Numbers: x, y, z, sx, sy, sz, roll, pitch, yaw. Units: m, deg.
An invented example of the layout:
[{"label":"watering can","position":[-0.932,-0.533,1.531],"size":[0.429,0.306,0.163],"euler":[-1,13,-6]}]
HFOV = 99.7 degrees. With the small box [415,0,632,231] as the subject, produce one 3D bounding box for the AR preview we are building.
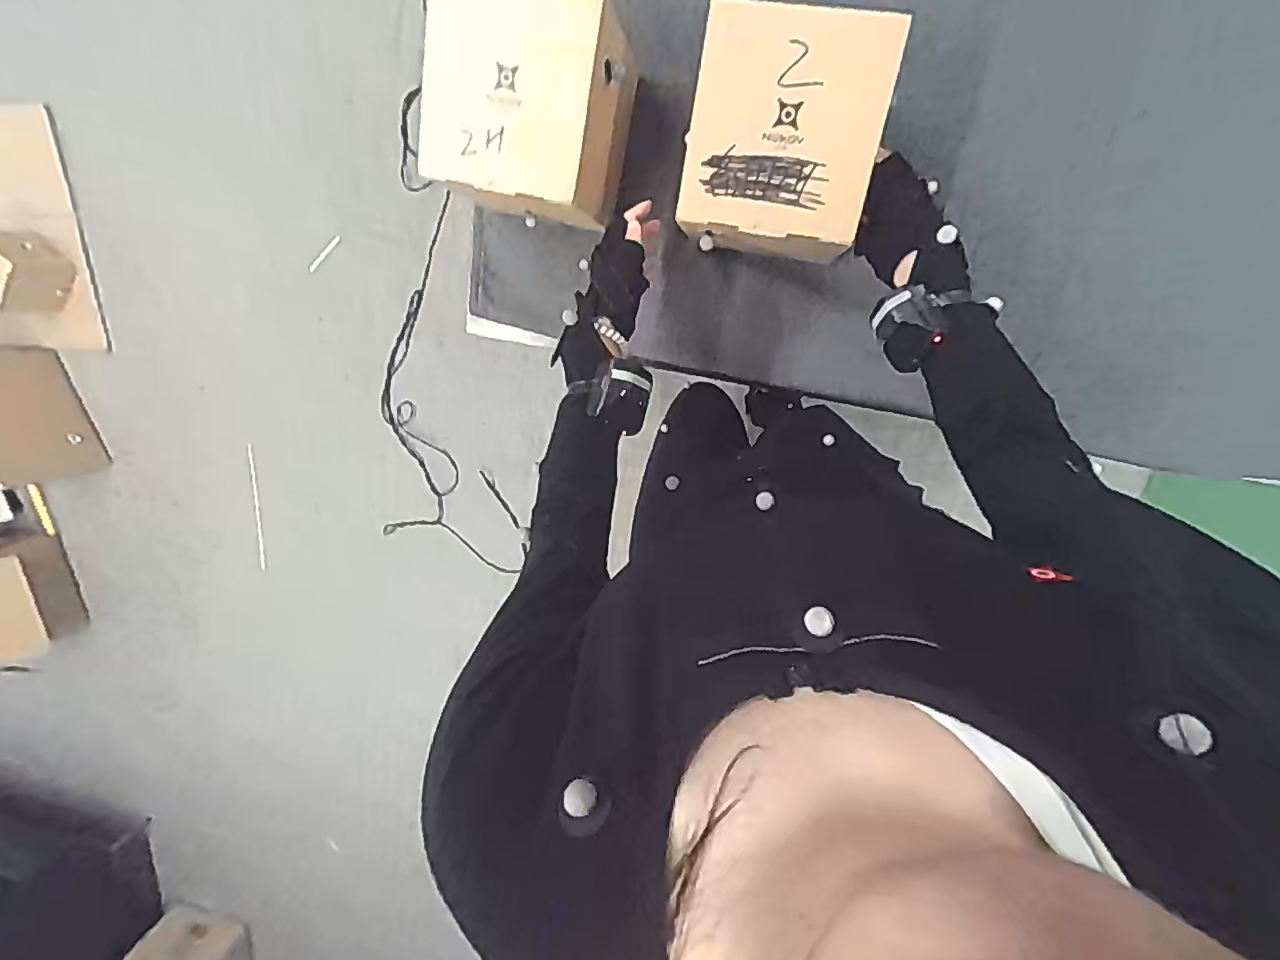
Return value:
[{"label":"small box","position":[-0.112,-0.386,0.577],"size":[0.168,0.176,0.179],"euler":[14,108,7]}]
